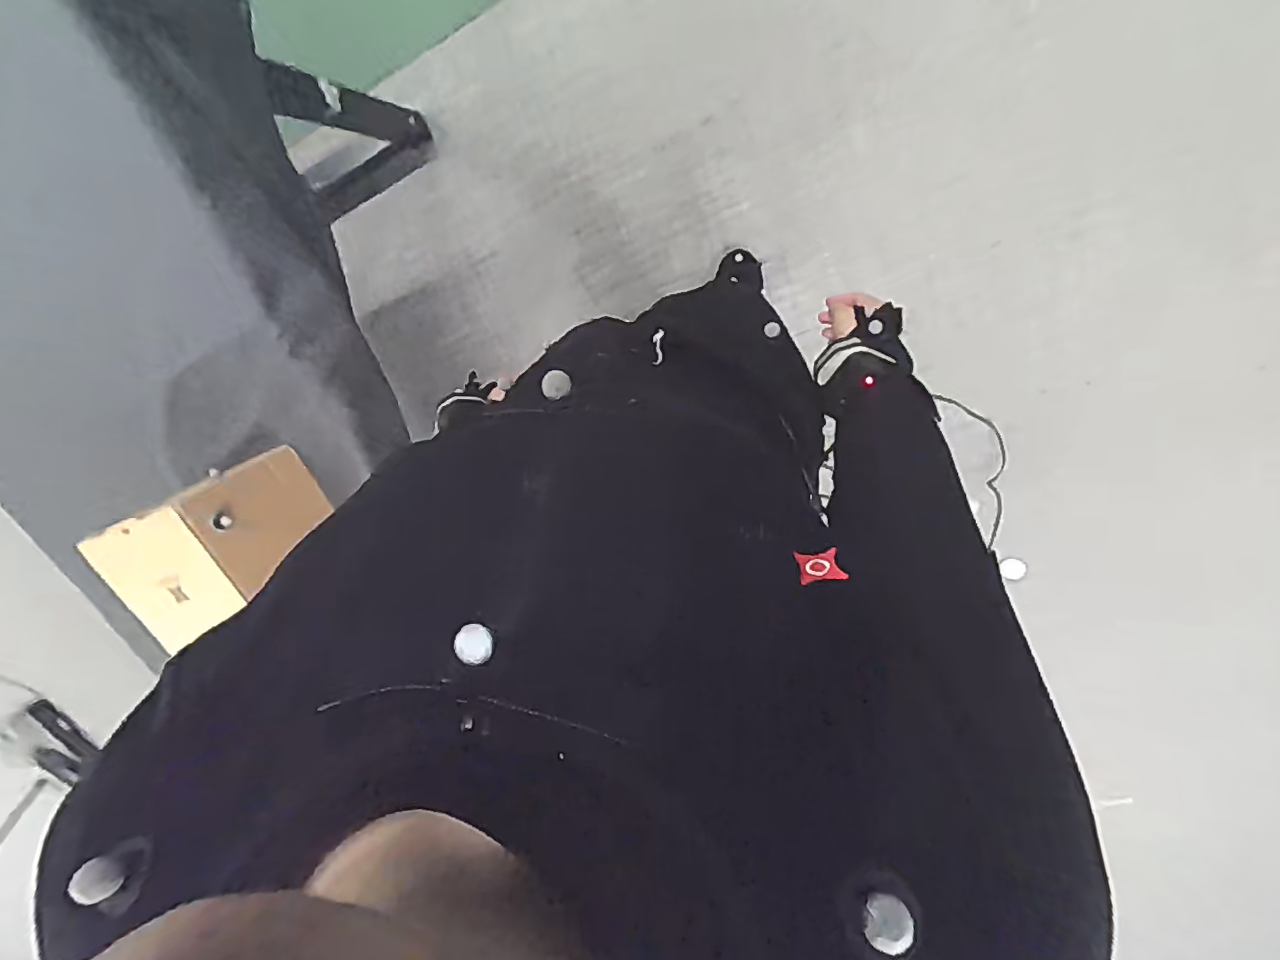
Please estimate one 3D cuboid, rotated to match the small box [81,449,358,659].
[{"bbox_3d":[-0.497,0.087,0.669,0.168,0.176,0.179,-18,110,18],"label":"small box"}]
